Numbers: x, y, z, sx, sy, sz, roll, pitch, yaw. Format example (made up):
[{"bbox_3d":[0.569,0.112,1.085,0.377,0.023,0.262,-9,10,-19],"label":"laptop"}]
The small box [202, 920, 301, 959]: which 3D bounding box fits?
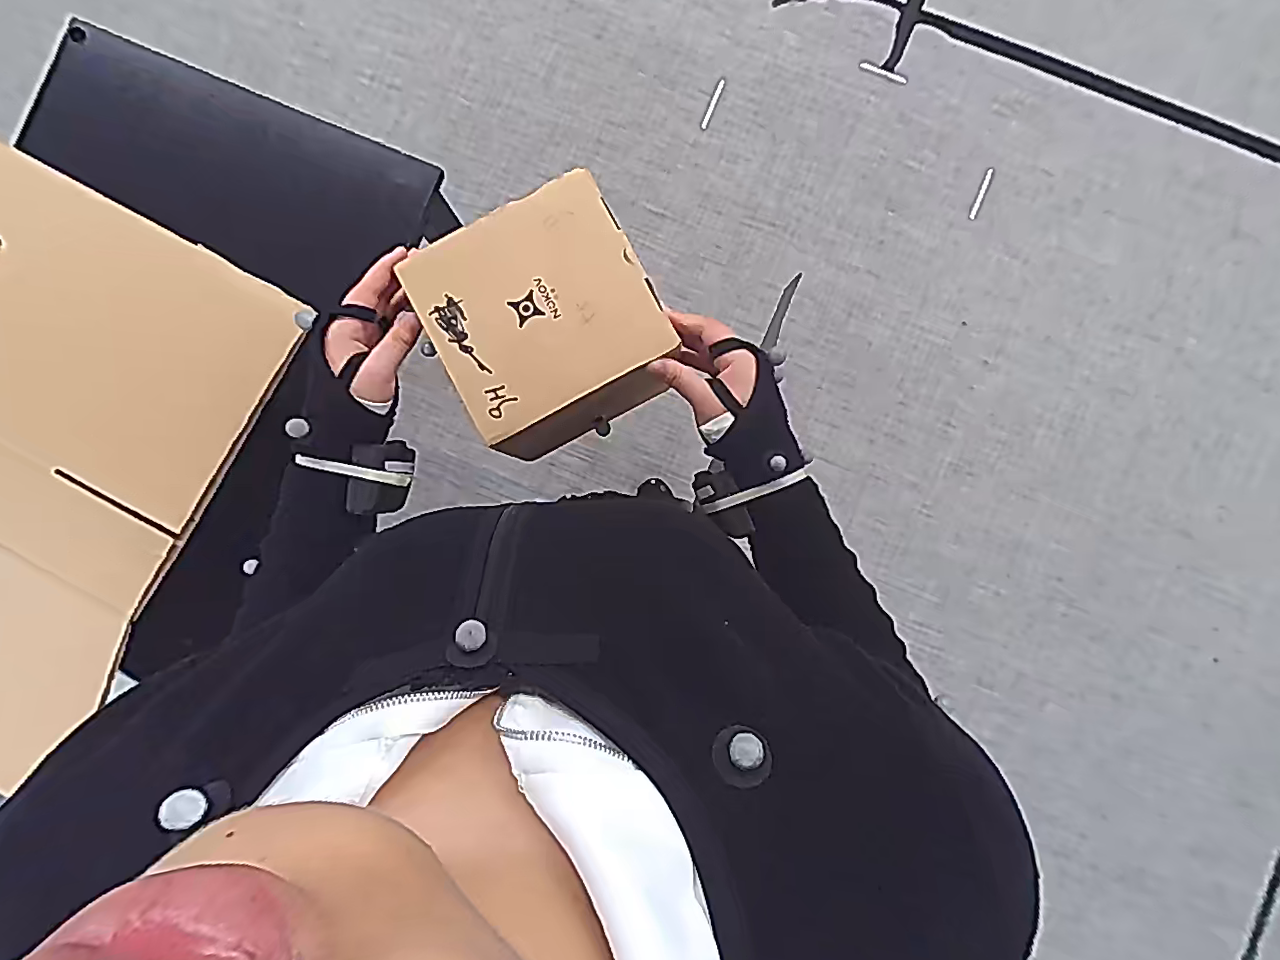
[{"bbox_3d":[-1.023,1.287,1.385,0.179,0.176,0.168,19,88,0],"label":"small box"}]
